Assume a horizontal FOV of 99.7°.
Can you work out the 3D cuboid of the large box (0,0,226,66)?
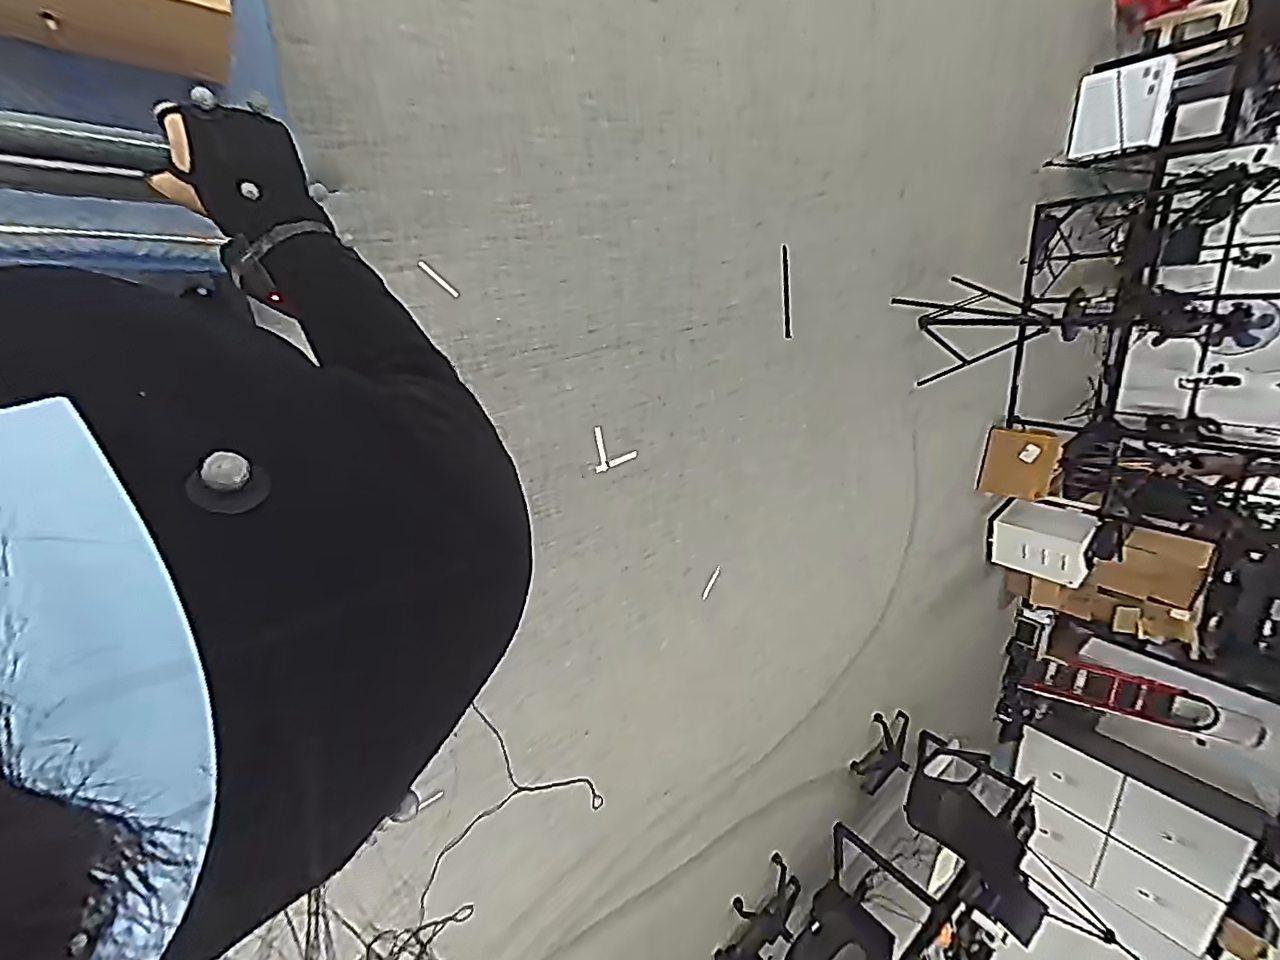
[{"bbox_3d":[-0.802,-0.793,0.681,0.408,0.320,0.320,-11,110,-35],"label":"large box"}]
